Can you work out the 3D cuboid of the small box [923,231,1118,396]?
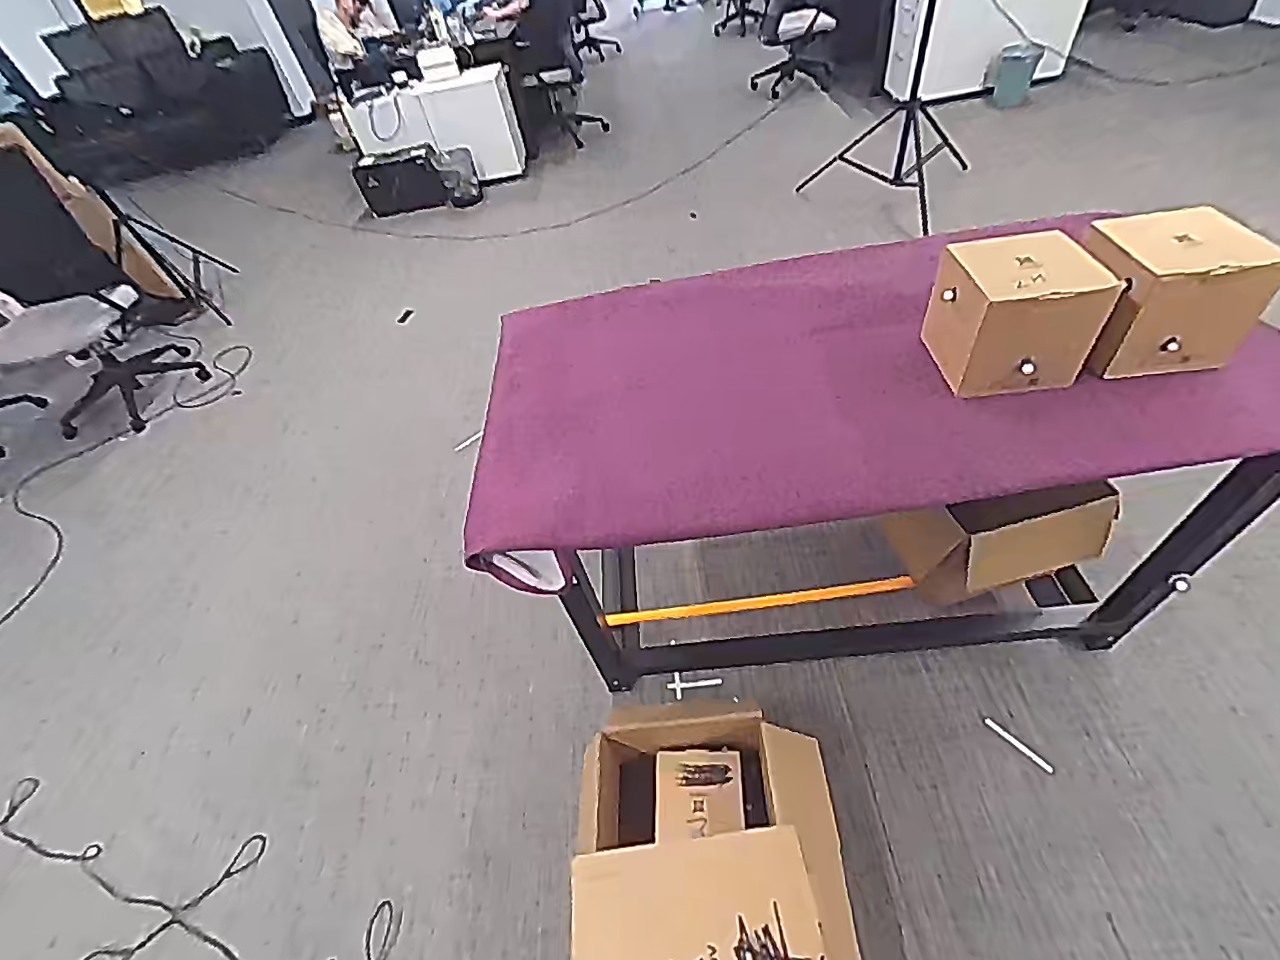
[{"bbox_3d":[0.557,-0.252,0.827,0.168,0.176,0.179,-5,47,8],"label":"small box"}]

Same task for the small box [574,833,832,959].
[{"bbox_3d":[0.050,0.389,0.410,0.179,0.176,0.168,-8,45,1],"label":"small box"}]

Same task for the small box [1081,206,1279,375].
[{"bbox_3d":[0.765,-0.280,0.808,0.168,0.176,0.179,-5,47,8],"label":"small box"}]
